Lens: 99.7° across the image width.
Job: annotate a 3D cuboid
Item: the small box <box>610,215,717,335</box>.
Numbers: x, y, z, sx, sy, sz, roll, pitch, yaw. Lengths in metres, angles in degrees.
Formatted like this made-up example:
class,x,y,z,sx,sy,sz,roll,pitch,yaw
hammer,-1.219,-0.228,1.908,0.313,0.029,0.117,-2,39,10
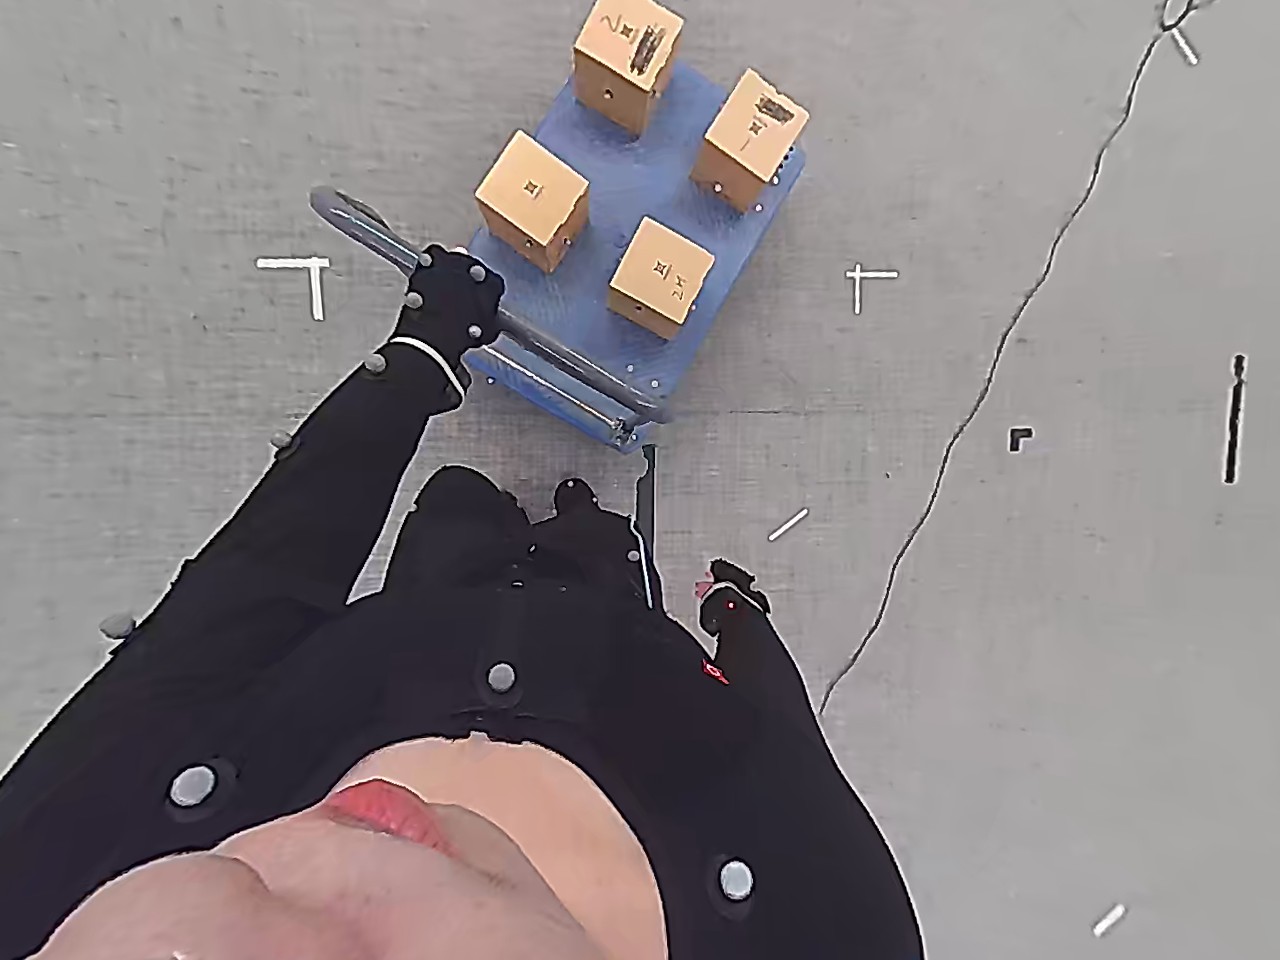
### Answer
class,x,y,z,sx,sy,sz,roll,pitch,yaw
small box,0.042,-0.447,1.214,0.179,0.176,0.168,28,90,-7

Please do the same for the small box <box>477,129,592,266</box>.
class,x,y,z,sx,sy,sz,roll,pitch,yaw
small box,-0.224,-0.601,1.177,0.179,0.176,0.168,34,89,-8

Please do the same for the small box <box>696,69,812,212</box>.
class,x,y,z,sx,sy,sz,roll,pitch,yaw
small box,0.245,-0.753,1.218,0.168,0.176,0.179,33,91,-7
